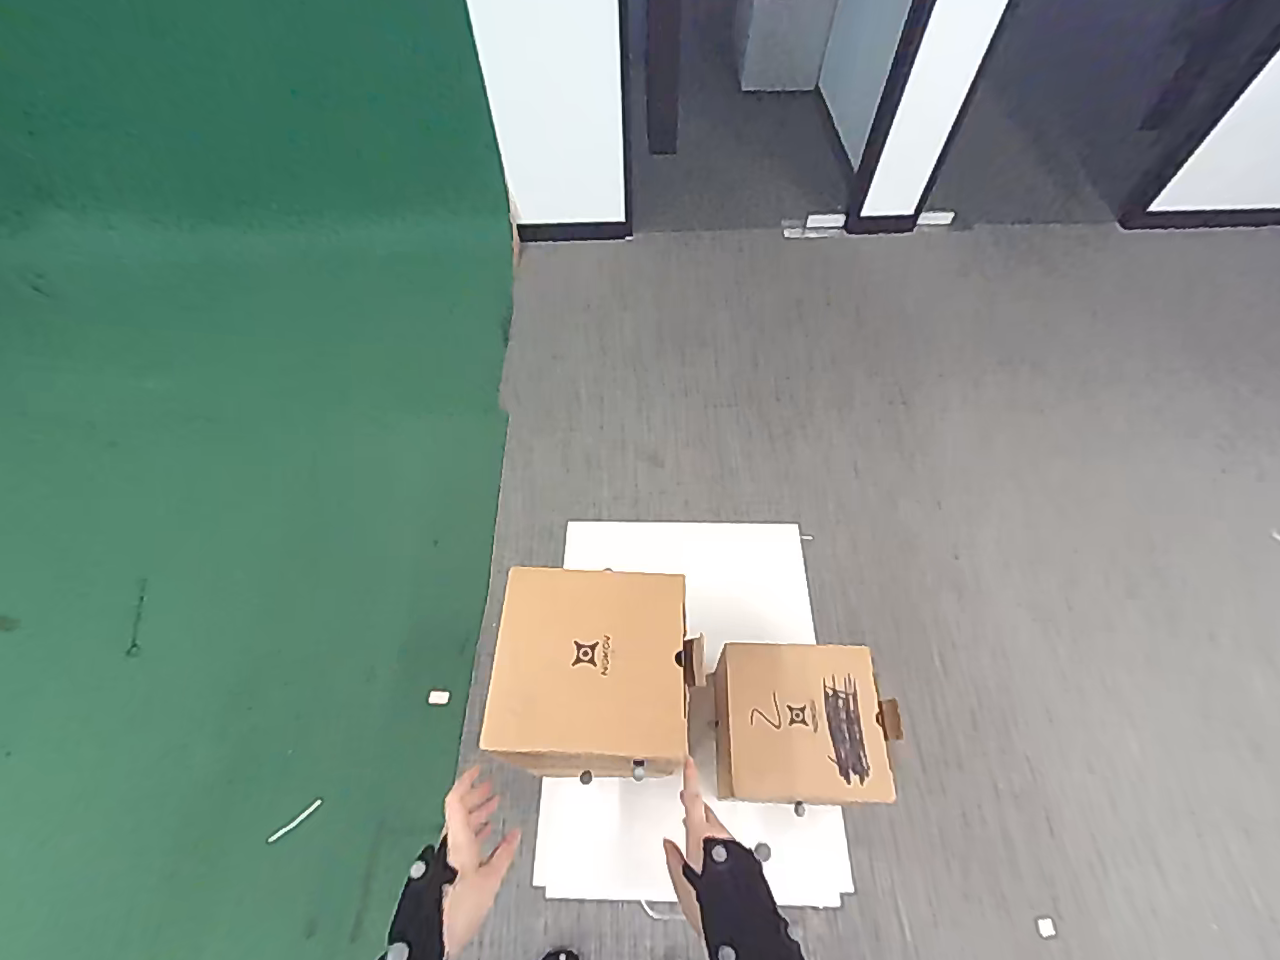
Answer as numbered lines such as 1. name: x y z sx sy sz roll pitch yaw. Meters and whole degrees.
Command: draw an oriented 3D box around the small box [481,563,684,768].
1. small box: -0.048 0.200 0.565 0.179 0.176 0.168 3 57 -1
